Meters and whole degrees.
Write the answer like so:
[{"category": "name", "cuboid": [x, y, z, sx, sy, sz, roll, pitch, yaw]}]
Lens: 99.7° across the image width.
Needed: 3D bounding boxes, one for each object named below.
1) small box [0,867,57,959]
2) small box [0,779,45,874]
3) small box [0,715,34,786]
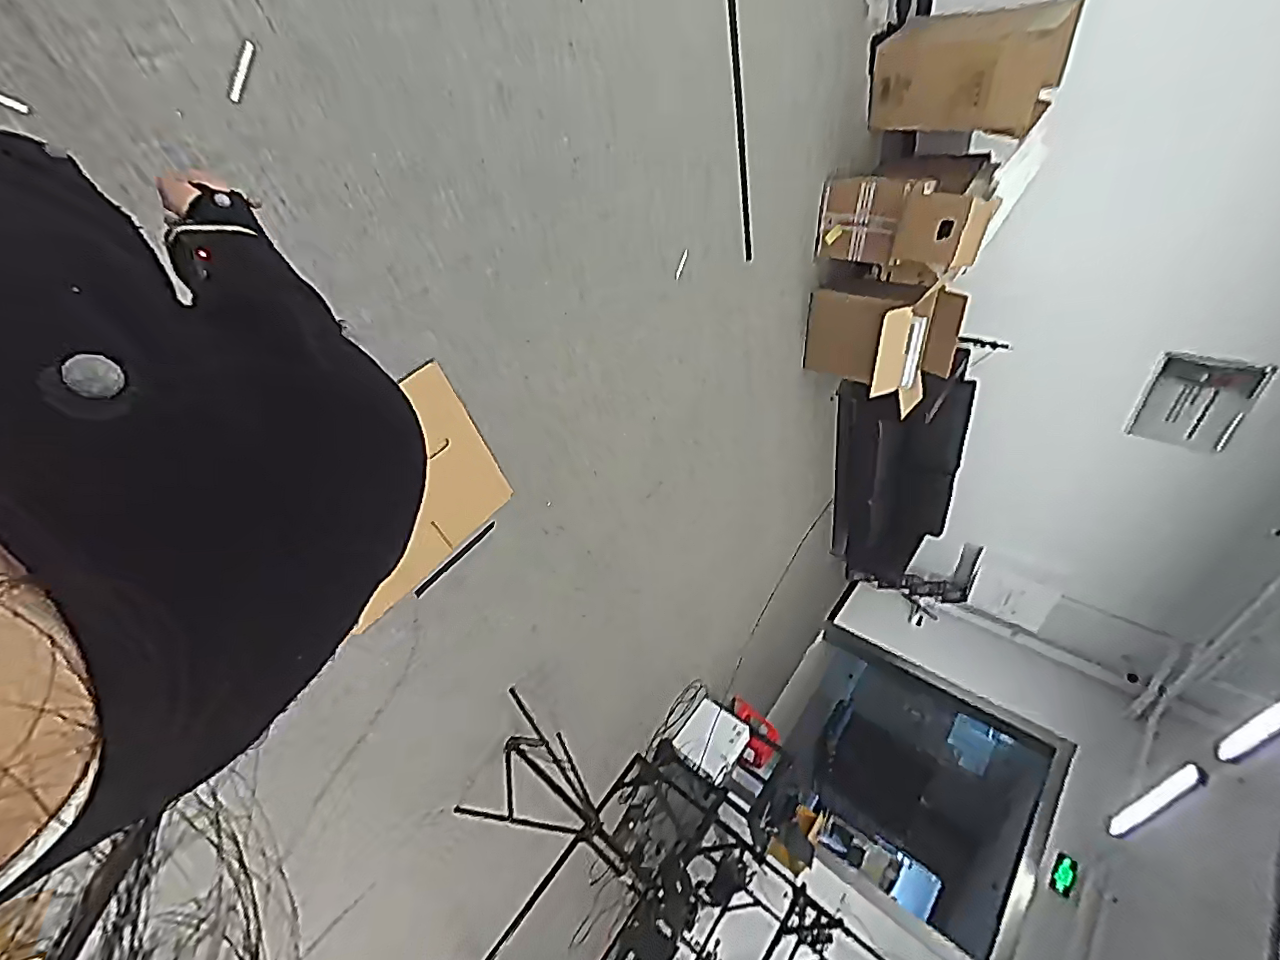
[{"category": "small box", "cuboid": [-0.834, 0.606, 0.637, 0.168, 0.176, 0.179, 12, 100, -54]}, {"category": "small box", "cuboid": [-0.955, 0.555, 0.735, 0.168, 0.176, 0.179, 12, 100, -54]}, {"category": "small box", "cuboid": [-1.076, 0.498, 0.830, 0.168, 0.176, 0.179, 12, 99, -54]}]
